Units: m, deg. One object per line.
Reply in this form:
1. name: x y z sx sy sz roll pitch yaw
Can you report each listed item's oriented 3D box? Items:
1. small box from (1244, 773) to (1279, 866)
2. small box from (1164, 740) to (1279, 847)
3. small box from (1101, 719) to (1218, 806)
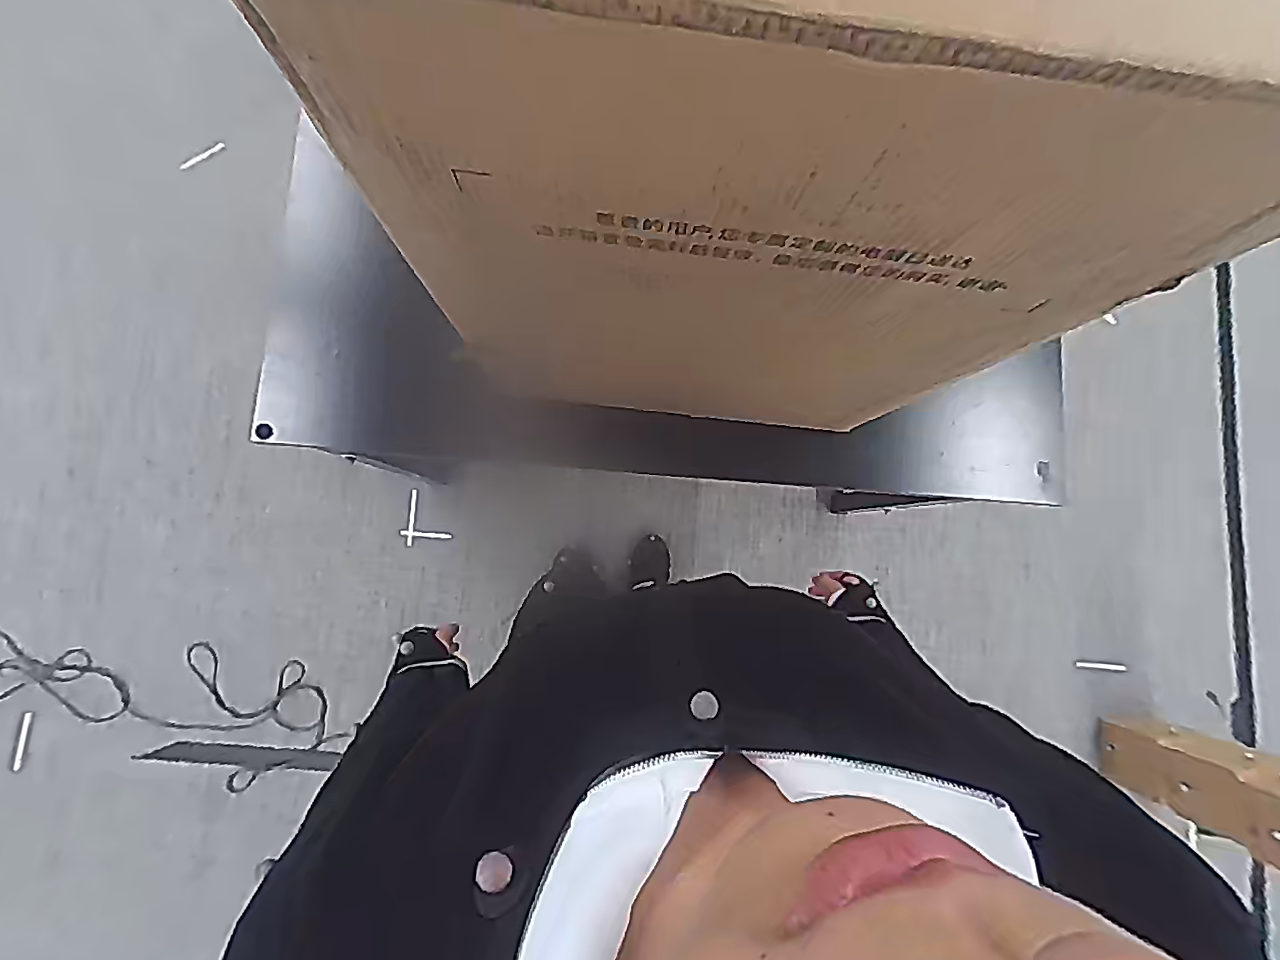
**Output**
1. small box: 1.430 0.730 1.126 0.179 0.176 0.168 -5 83 -4
2. small box: 1.423 0.737 1.290 0.179 0.176 0.168 -3 83 -4
3. small box: 1.399 0.752 1.454 0.179 0.176 0.168 1 83 -3
